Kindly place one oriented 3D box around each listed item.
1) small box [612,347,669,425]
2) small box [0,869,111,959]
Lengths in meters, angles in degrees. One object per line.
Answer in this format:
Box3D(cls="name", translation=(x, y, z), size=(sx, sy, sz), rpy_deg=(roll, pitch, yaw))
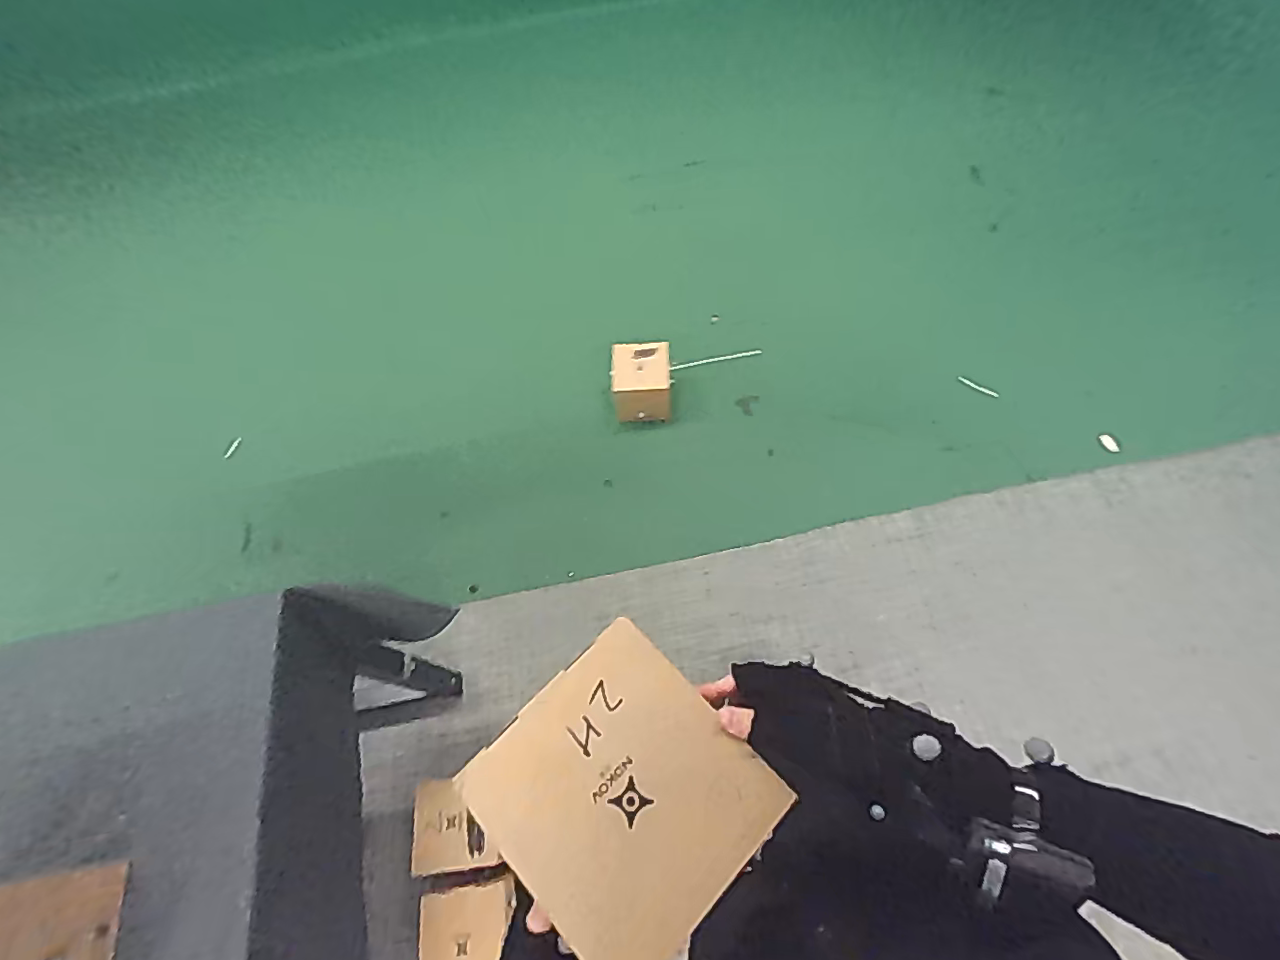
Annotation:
Box3D(cls="small box", translation=(0.005, -0.289, 1.677), size=(0.168, 0.176, 0.179), rpy_deg=(-2, 63, 4))
Box3D(cls="small box", translation=(-0.650, 0.479, 0.488), size=(0.179, 0.176, 0.168), rpy_deg=(-13, 62, -4))
